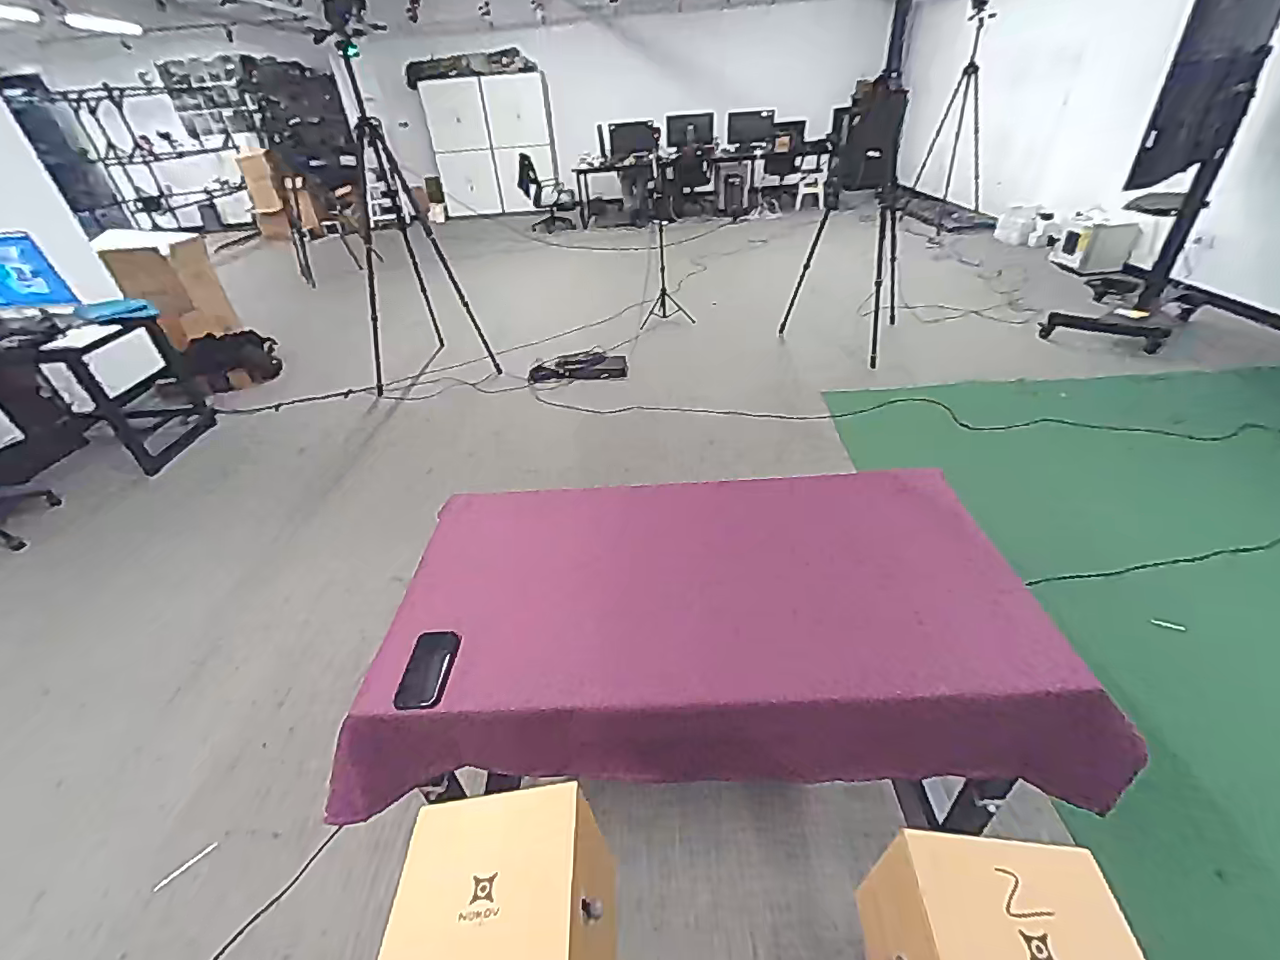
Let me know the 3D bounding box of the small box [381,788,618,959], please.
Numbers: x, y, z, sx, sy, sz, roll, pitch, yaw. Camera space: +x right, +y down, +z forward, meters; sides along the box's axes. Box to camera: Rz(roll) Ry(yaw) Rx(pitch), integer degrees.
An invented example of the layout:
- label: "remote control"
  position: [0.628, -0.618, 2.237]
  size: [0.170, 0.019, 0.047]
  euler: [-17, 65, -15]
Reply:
- label: "small box"
  position: [-0.118, 0.428, 0.506]
  size: [0.168, 0.176, 0.179]
  euler: [-10, 32, 3]
